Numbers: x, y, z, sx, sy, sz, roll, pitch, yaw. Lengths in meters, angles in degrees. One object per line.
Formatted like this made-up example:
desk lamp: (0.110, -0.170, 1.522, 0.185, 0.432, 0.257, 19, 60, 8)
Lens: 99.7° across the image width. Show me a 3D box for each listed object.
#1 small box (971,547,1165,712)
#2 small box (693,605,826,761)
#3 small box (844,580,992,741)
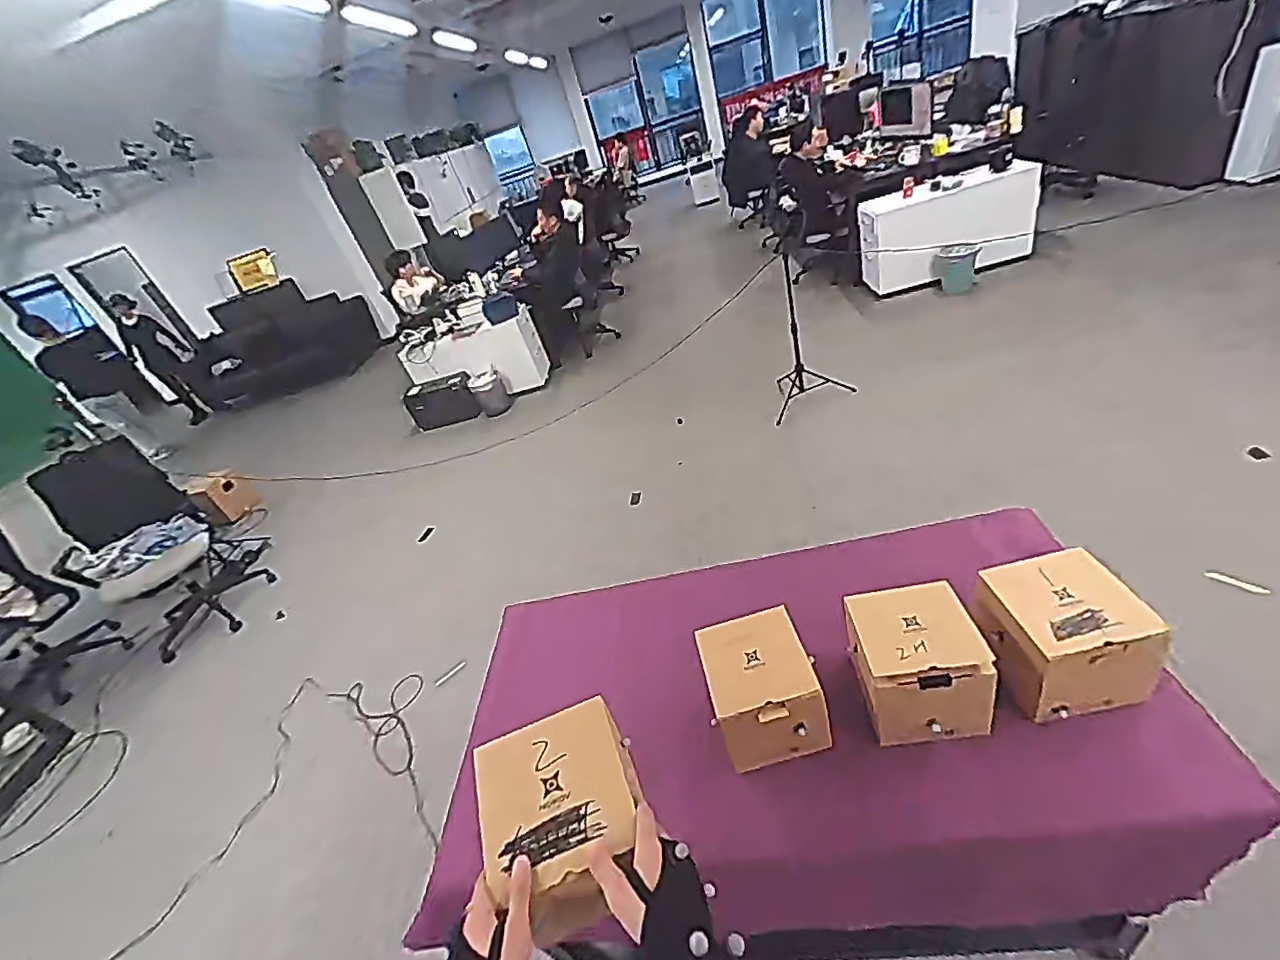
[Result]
small box: (0.651, 0.239, 0.848, 0.168, 0.176, 0.179, -15, 33, 7)
small box: (0.203, 0.351, 0.922, 0.168, 0.176, 0.179, -17, 33, 3)
small box: (0.439, 0.293, 0.879, 0.168, 0.176, 0.179, -12, 34, 12)
